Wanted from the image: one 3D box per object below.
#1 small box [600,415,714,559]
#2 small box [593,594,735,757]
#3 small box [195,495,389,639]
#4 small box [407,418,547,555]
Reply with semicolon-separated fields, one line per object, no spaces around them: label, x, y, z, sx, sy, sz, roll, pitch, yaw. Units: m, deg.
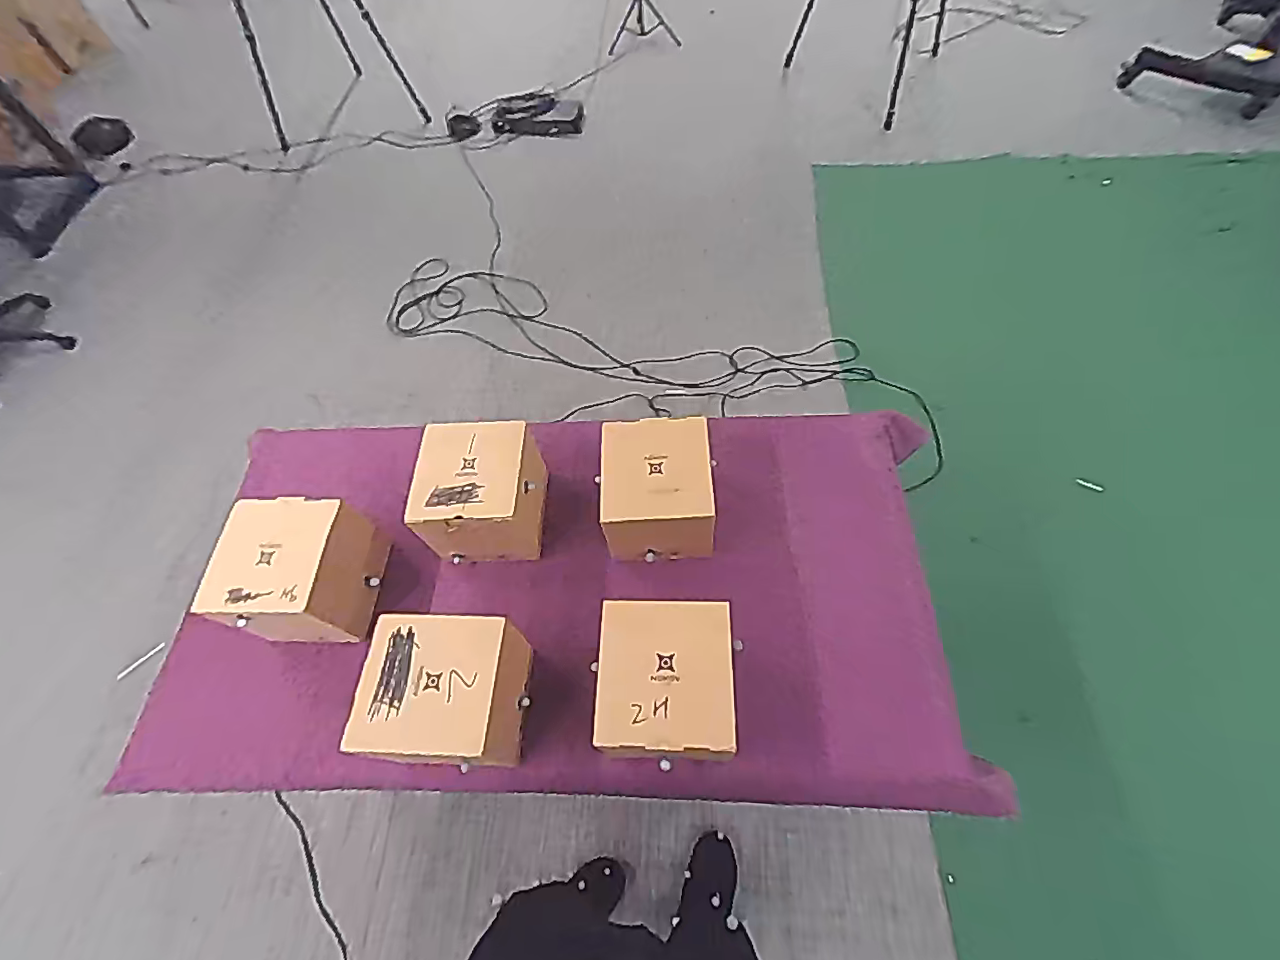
small box;0.029;0.015;0.877;0.168;0.176;0.179;-3;61;4
small box;0.036;0.266;0.729;0.168;0.176;0.179;0;59;5
small box;-0.521;0.138;0.844;0.168;0.176;0.179;-1;60;5
small box;-0.255;0.019;0.895;0.168;0.176;0.179;-2;60;3
